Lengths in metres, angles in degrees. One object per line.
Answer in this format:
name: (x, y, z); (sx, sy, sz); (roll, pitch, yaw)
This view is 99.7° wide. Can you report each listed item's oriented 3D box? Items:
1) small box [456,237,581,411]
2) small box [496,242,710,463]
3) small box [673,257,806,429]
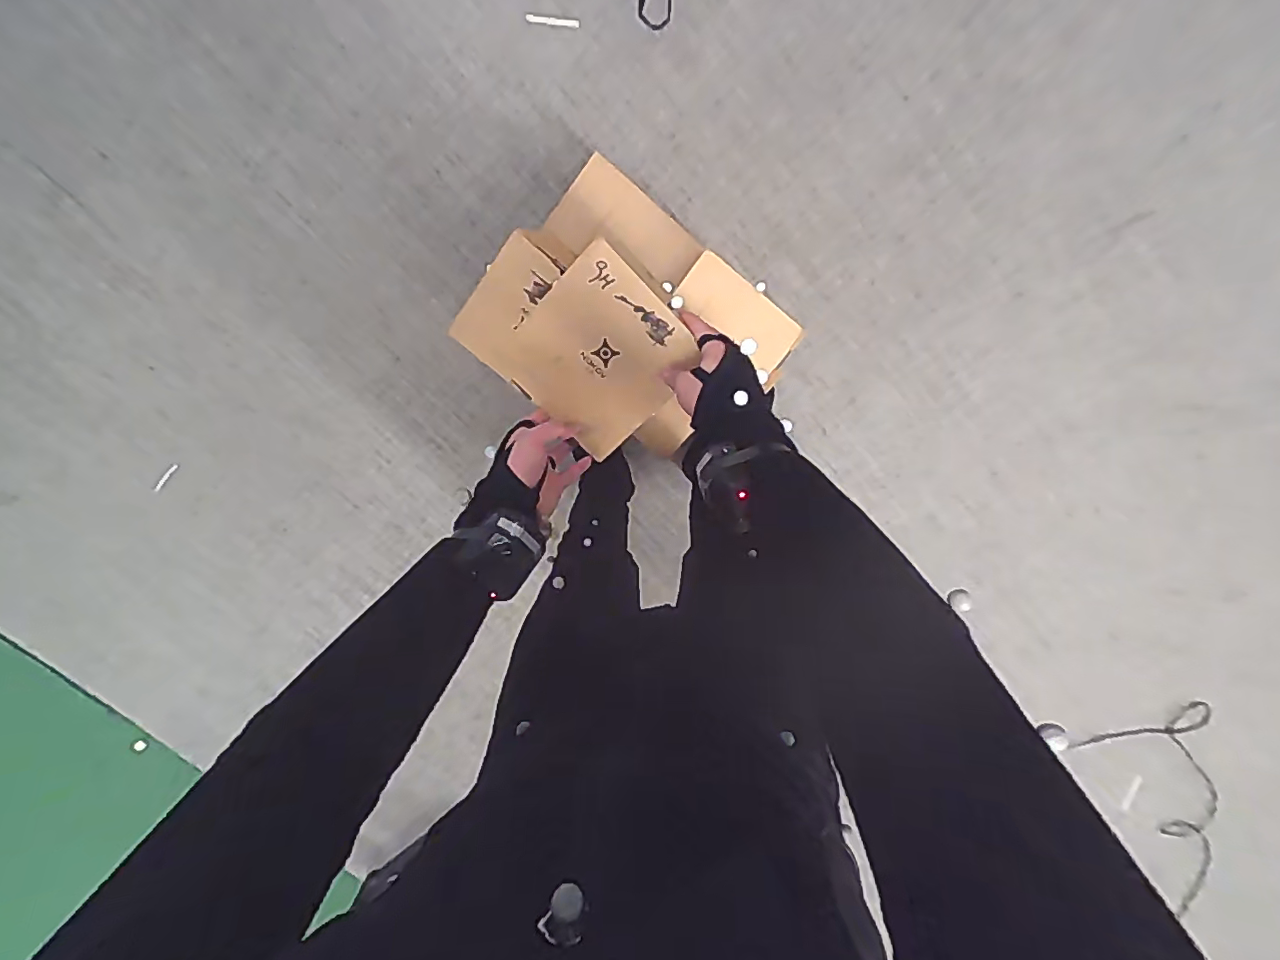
small box: (-0.137, -0.240, 0.814); (0.168, 0.176, 0.179); (40, 112, -10)
small box: (-0.033, -0.155, 0.645); (0.168, 0.176, 0.179); (44, 109, -12)
small box: (0.112, -0.206, 0.806); (0.179, 0.176, 0.168); (36, 106, -8)
